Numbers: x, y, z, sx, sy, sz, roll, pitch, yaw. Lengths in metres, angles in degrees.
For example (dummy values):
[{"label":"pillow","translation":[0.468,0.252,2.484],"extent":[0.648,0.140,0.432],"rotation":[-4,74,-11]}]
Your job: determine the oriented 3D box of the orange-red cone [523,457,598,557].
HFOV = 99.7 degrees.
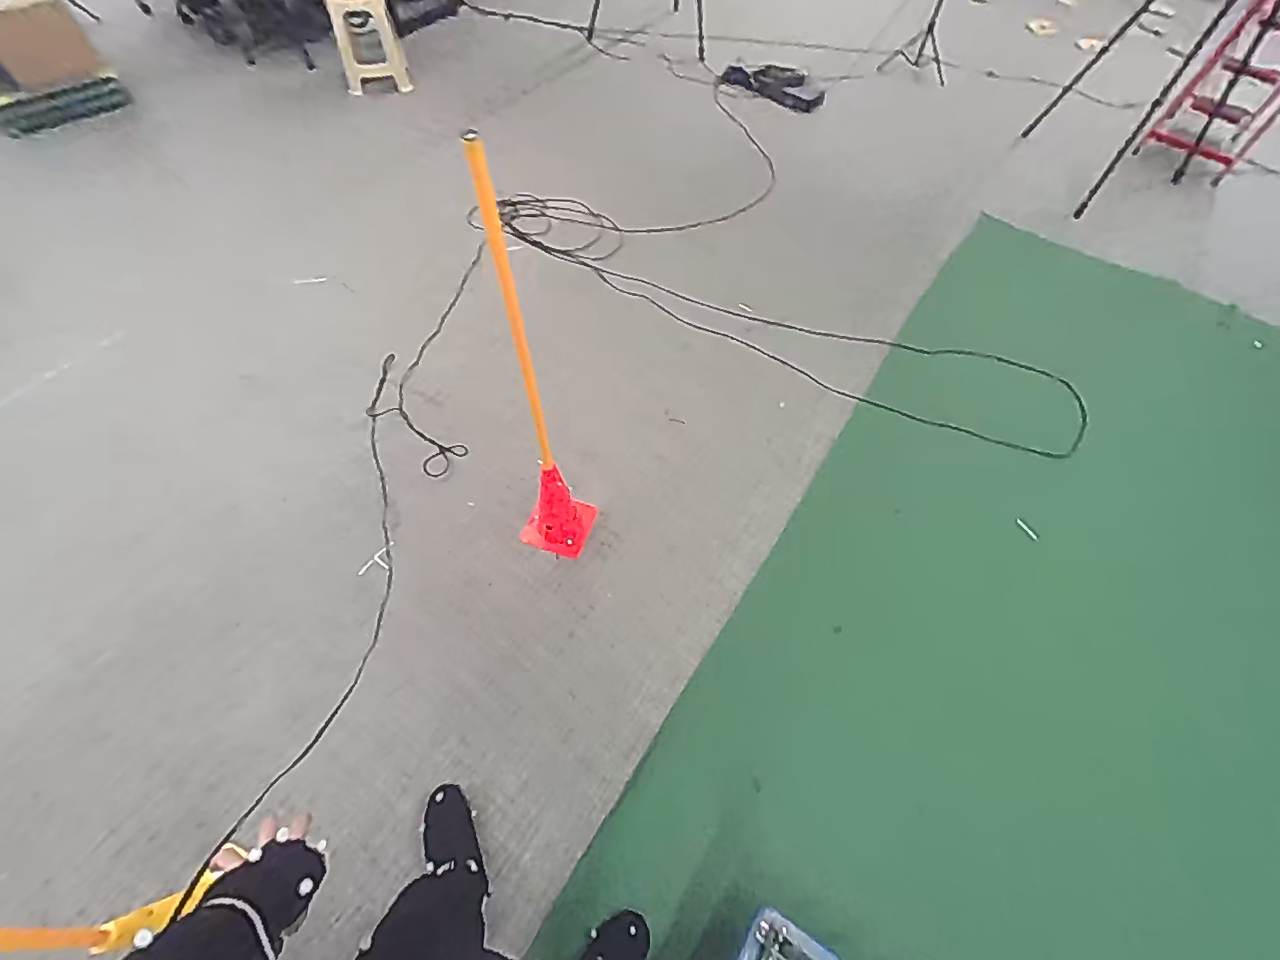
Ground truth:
[{"label":"orange-red cone","translation":[-0.245,0.046,1.596],"extent":[0.198,0.360,0.199],"rotation":[19,58,8]}]
